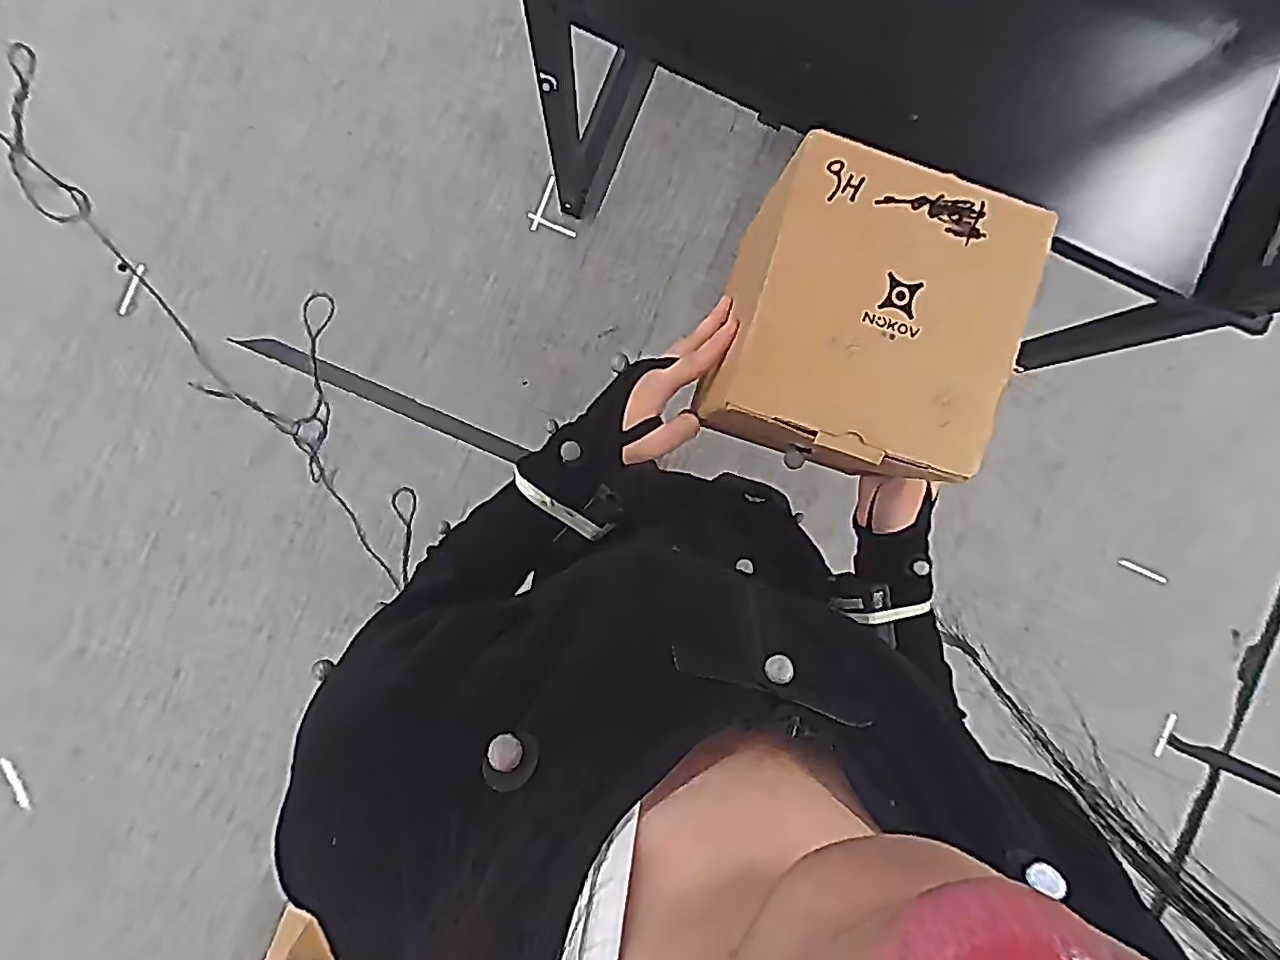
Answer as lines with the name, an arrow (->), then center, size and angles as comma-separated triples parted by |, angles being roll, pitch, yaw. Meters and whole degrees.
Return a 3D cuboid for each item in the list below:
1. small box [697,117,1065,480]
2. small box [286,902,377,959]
small box -> 0.149, -0.111, 0.402 | 0.168, 0.176, 0.179 | 17, 93, -5
small box -> -0.803, 1.239, 1.383 | 0.168, 0.176, 0.179 | 19, 91, -4
